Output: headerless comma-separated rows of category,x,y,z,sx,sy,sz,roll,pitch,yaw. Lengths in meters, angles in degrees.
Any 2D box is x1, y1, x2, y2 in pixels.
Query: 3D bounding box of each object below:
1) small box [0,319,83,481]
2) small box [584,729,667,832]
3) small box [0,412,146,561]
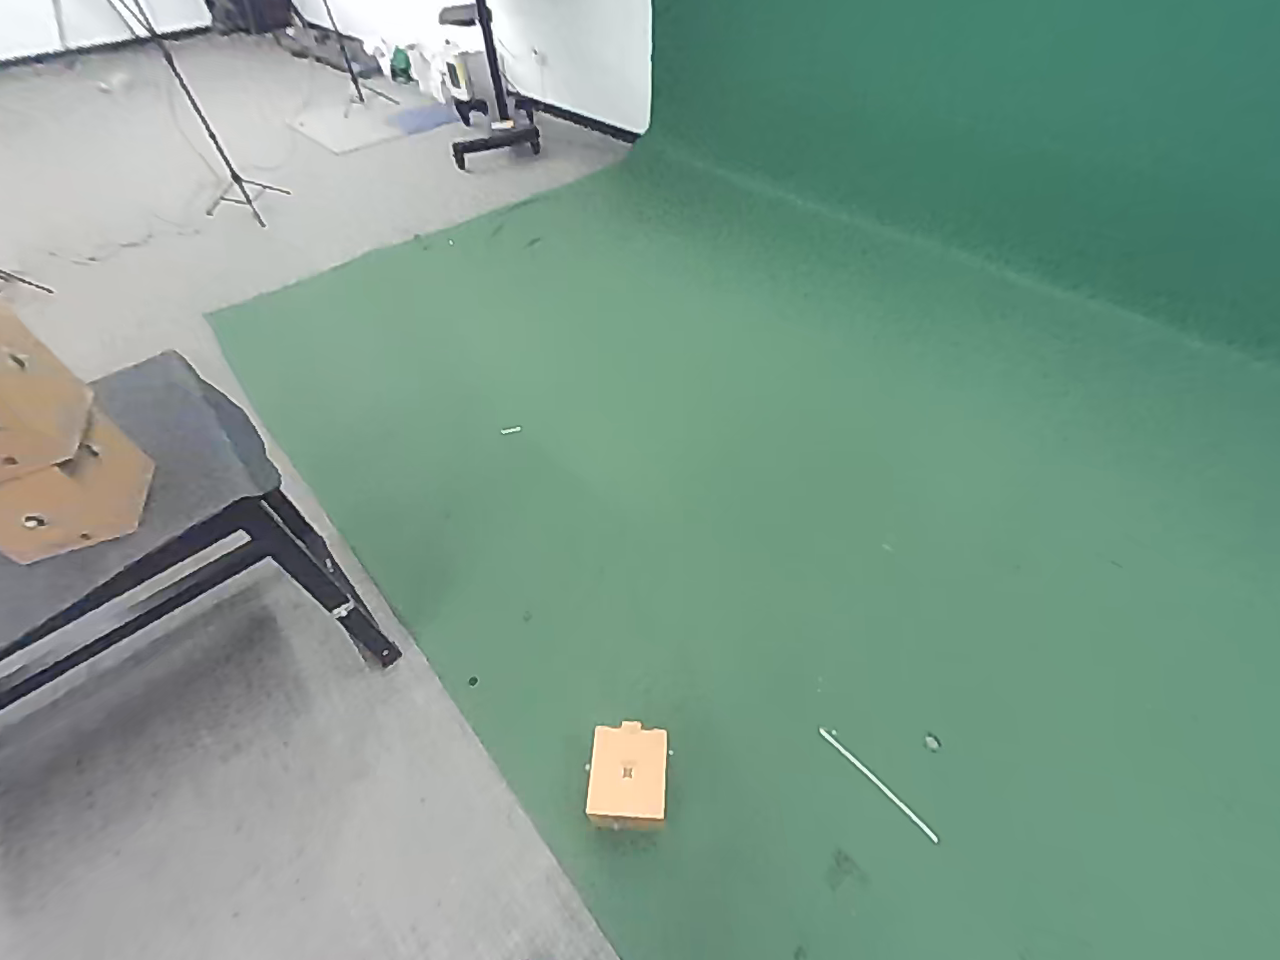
small box,-0.944,-0.102,0.754,0.168,0.176,0.179,-22,50,-17
small box,-0.025,0.682,1.222,0.168,0.176,0.179,1,49,4
small box,-0.957,0.009,0.873,0.168,0.176,0.179,-19,49,-13
